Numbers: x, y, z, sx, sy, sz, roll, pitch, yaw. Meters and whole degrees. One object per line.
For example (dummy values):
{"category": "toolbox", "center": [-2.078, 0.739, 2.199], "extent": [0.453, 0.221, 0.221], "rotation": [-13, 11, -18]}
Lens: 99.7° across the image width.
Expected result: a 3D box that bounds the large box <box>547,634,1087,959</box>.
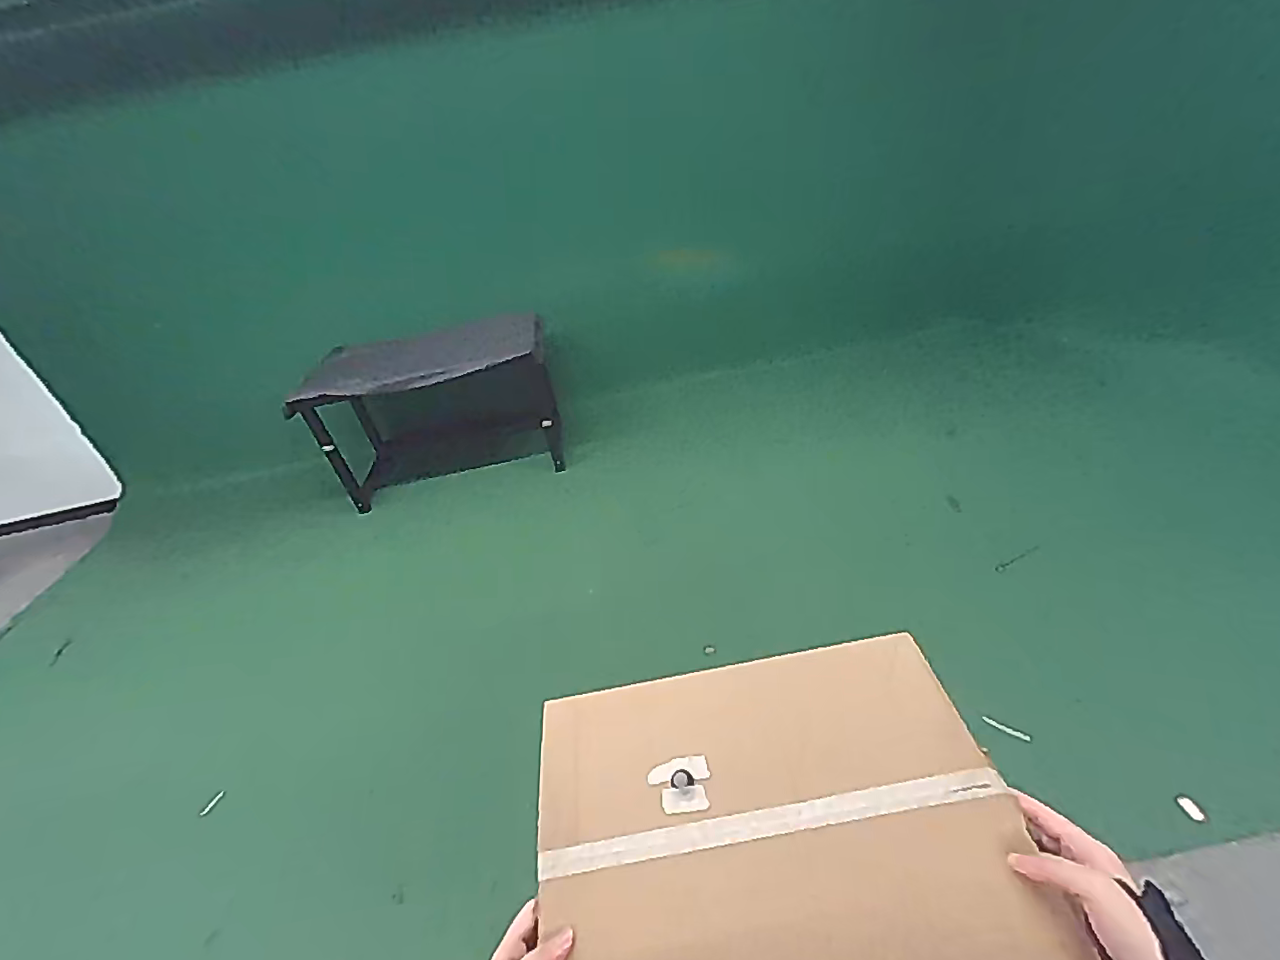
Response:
{"category": "large box", "center": [0.141, 0.419, 0.577], "extent": [0.408, 0.320, 0.320], "rotation": [-13, 39, 3]}
